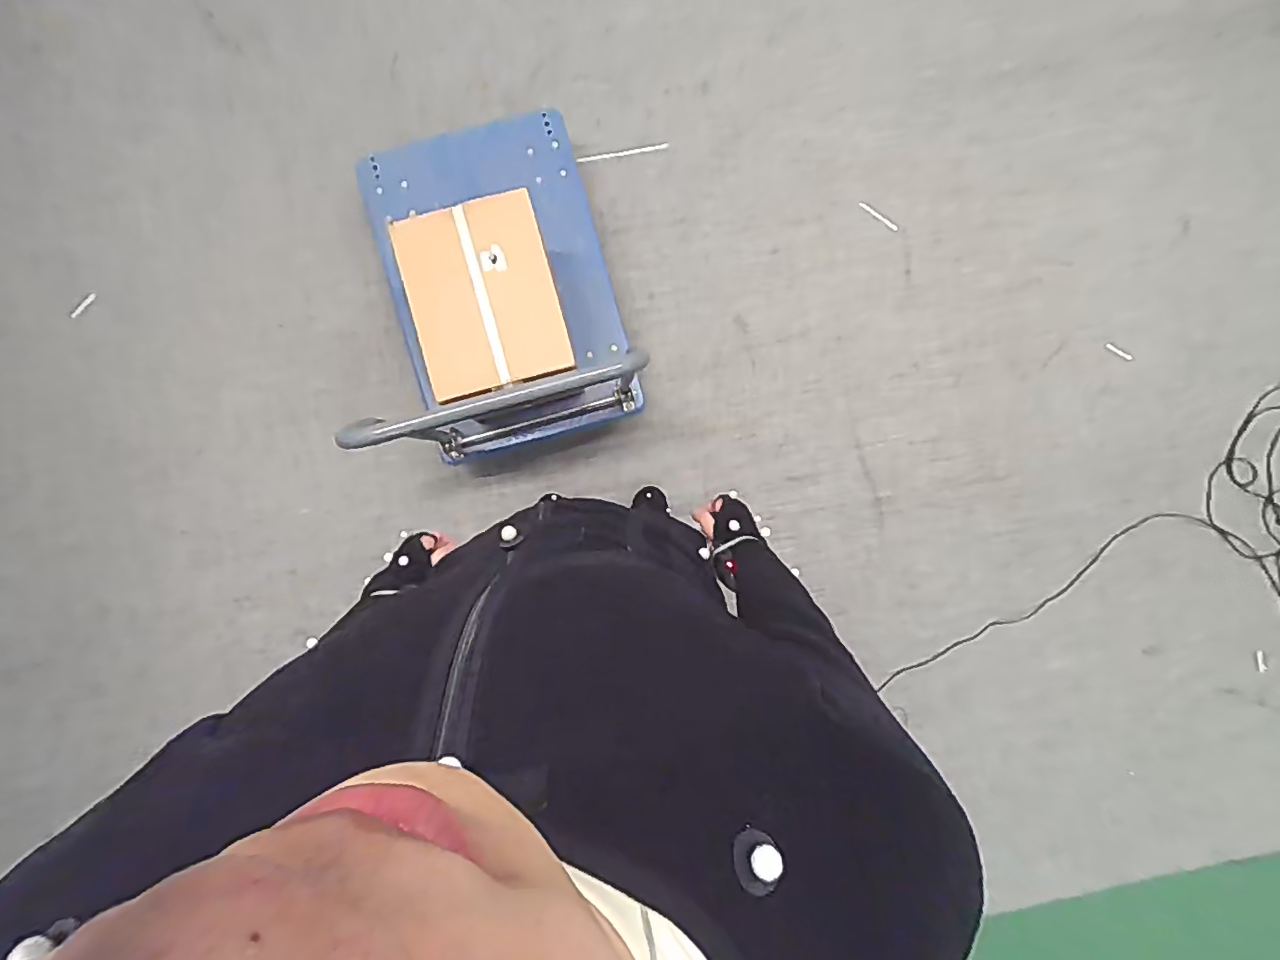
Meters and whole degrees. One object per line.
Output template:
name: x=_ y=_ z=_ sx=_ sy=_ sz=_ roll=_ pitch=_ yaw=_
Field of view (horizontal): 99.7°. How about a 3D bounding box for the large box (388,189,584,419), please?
large box: x=-0.345 y=-0.398 z=1.312 sx=0.320 sy=0.320 sz=0.408 roll=-16 pitch=89 yaw=-3
